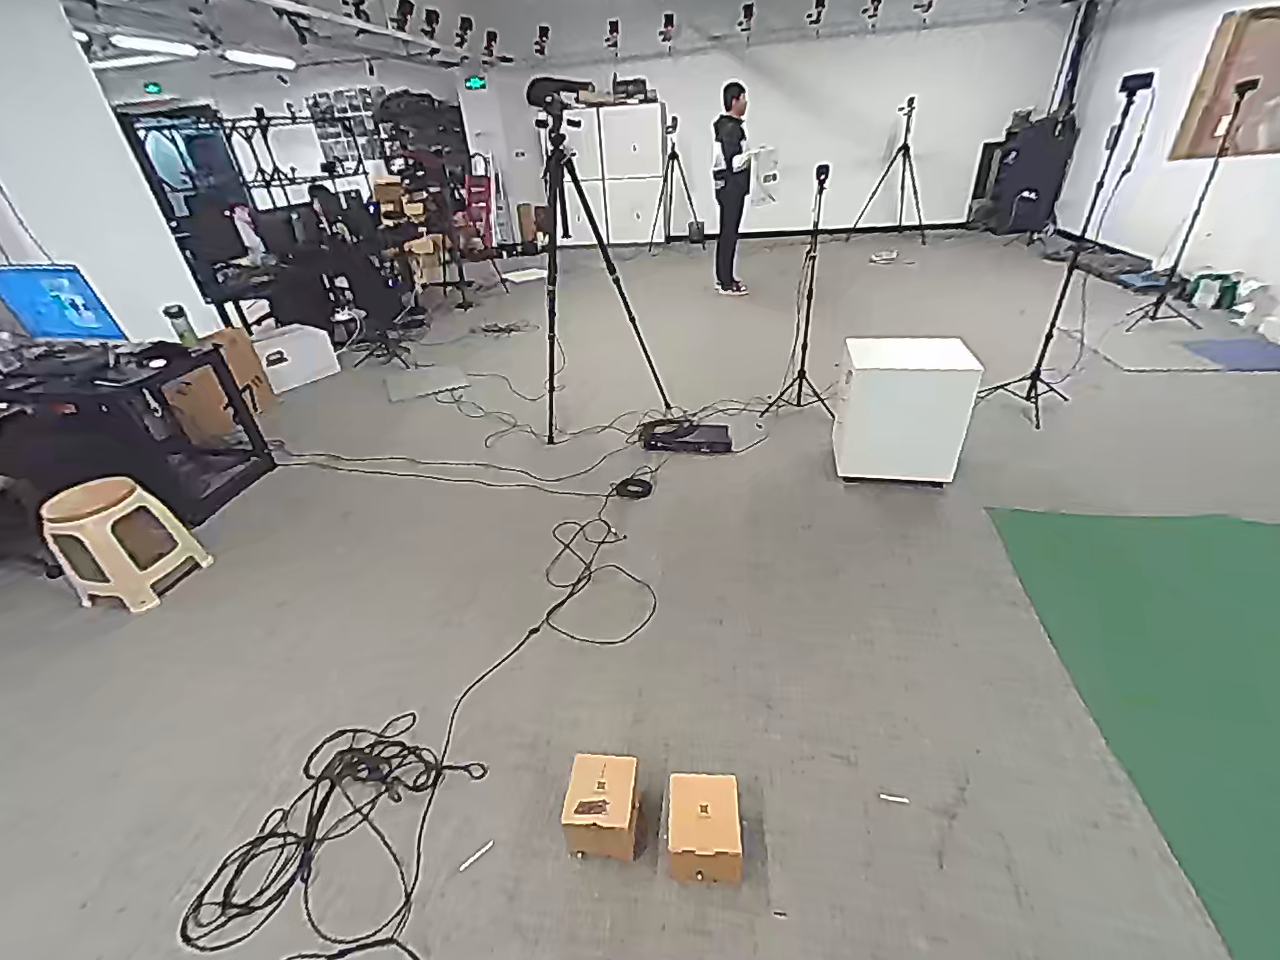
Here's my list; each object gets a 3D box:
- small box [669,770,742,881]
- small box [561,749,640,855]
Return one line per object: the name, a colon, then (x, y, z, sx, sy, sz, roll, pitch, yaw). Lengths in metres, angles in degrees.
small box: (0.157, 0.841, 1.321, 0.168, 0.176, 0.179, -1, 34, 5)
small box: (-0.092, 0.821, 1.378, 0.168, 0.176, 0.179, 1, 33, 8)
